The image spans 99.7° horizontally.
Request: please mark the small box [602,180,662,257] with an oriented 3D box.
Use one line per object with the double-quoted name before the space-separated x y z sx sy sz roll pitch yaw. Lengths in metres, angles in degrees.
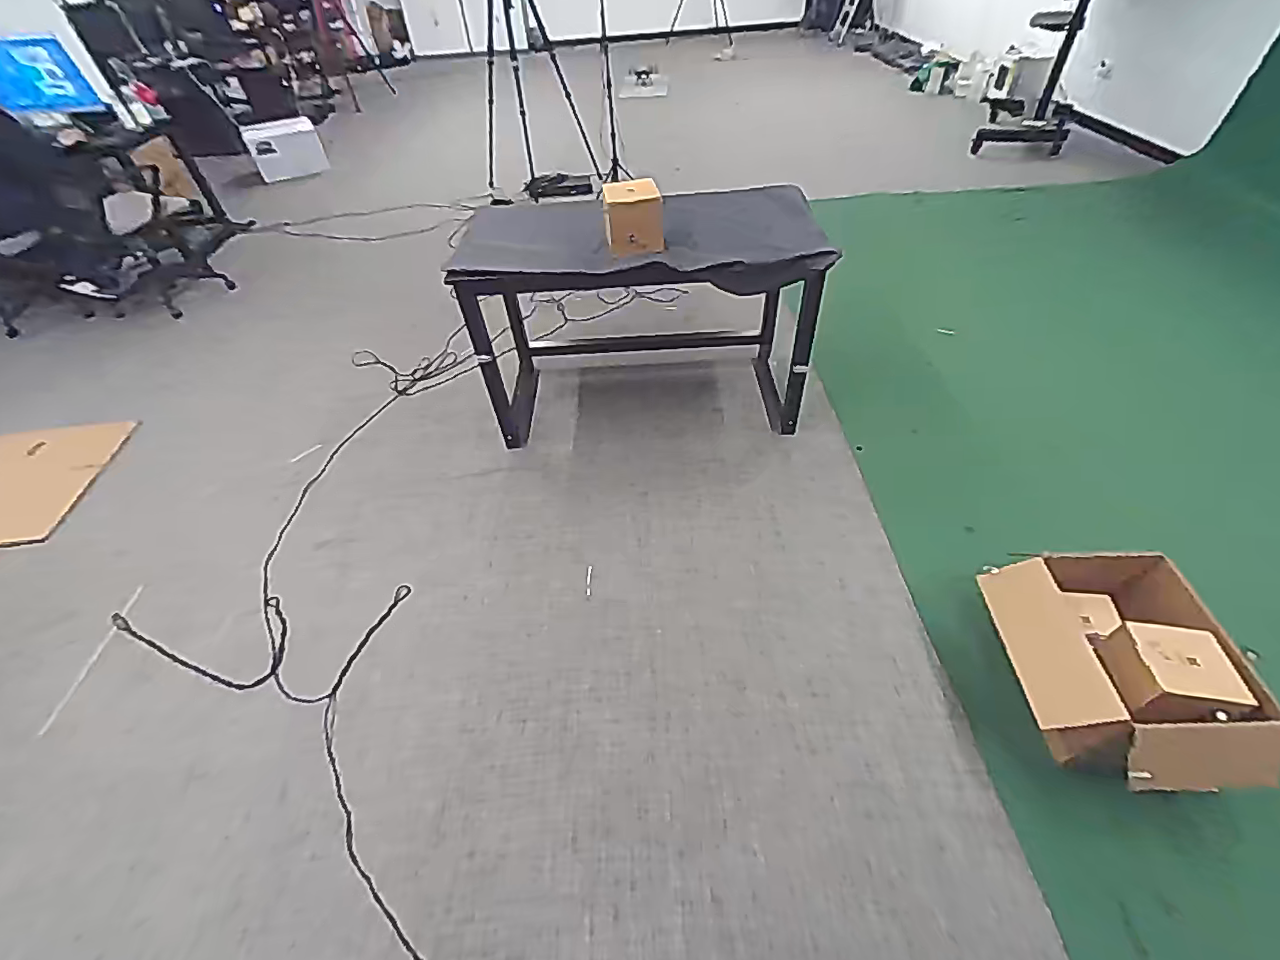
"small box" -0.026 -0.830 1.720 0.168 0.176 0.179 -8 47 -4
